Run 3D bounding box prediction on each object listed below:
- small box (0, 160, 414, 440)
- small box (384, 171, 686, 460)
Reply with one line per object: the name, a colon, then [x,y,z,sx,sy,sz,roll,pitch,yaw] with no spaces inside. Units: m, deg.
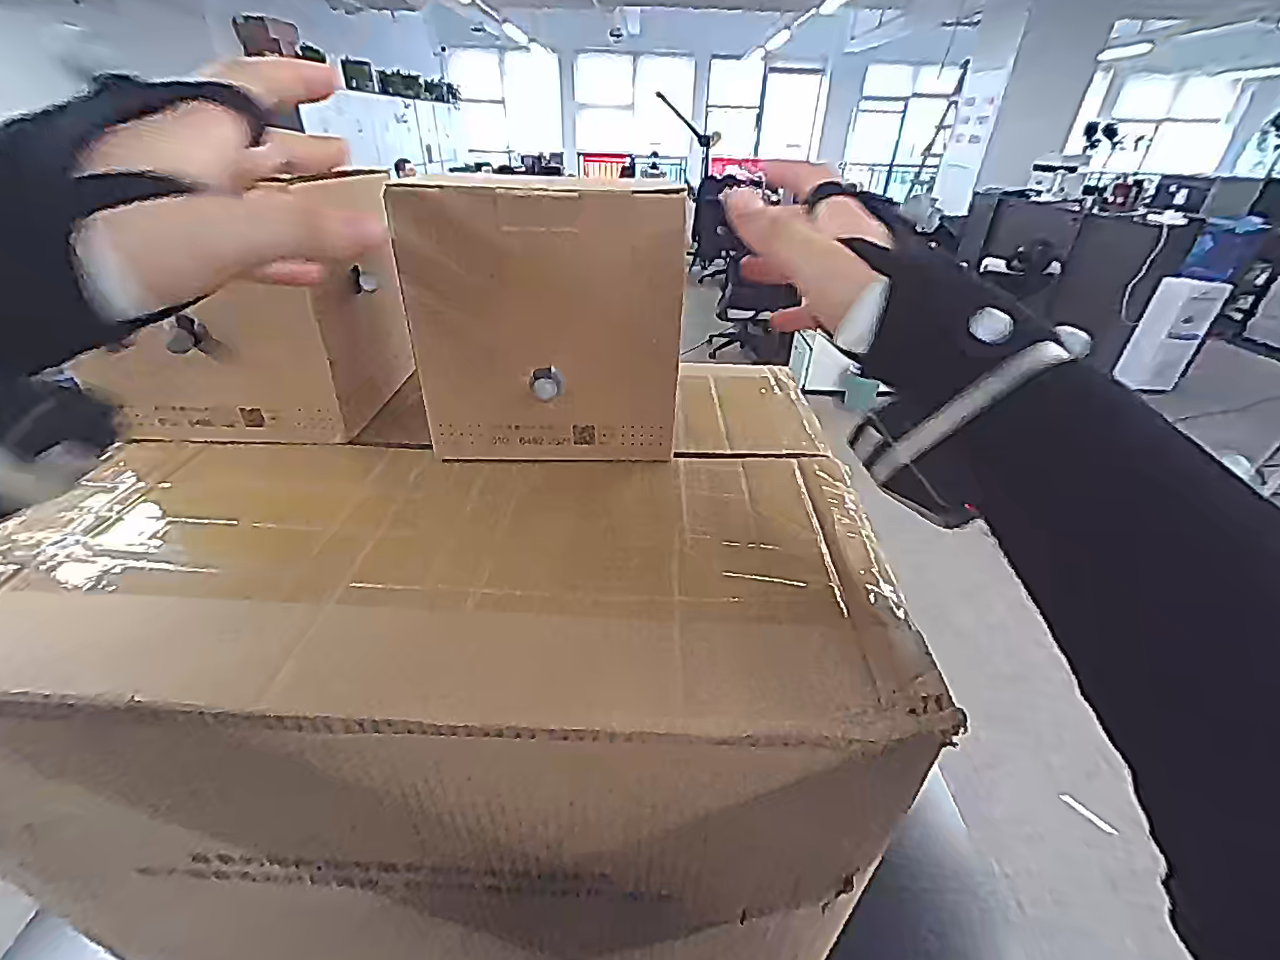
small box: [-0.287,-0.138,0.405,0.168,0.176,0.179,0,32,-3]
small box: [-0.060,-0.128,0.400,0.168,0.176,0.179,-1,31,-2]
